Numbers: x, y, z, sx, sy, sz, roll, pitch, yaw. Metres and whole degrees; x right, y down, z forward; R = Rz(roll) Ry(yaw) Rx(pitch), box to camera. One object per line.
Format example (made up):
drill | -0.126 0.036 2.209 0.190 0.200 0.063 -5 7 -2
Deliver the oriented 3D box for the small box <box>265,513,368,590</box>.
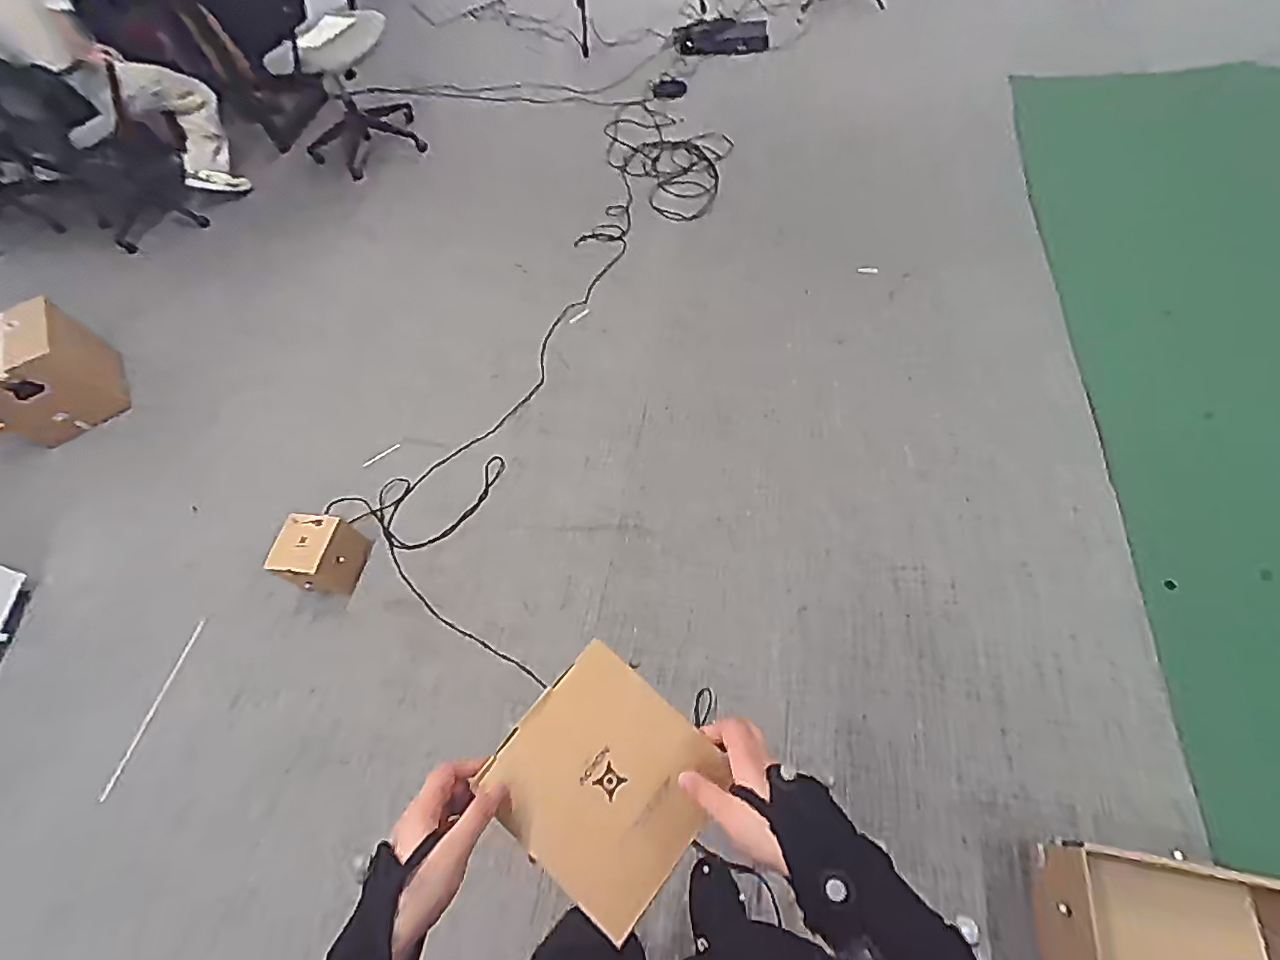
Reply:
small box | -0.936 0.213 1.583 0.168 0.176 0.179 3 62 10

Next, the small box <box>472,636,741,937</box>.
small box | -0.031 0.282 0.540 0.179 0.176 0.168 39 74 11
